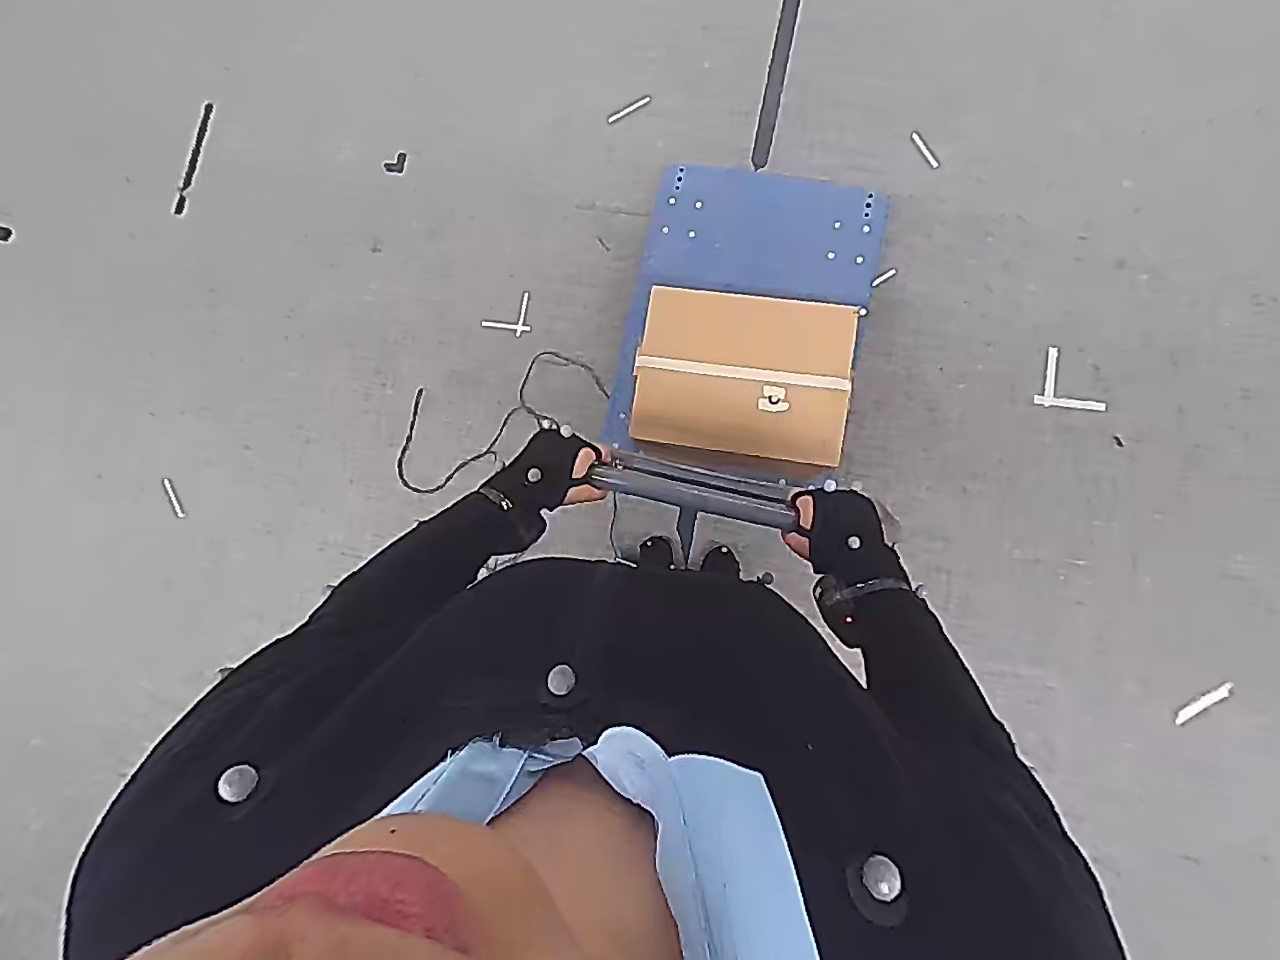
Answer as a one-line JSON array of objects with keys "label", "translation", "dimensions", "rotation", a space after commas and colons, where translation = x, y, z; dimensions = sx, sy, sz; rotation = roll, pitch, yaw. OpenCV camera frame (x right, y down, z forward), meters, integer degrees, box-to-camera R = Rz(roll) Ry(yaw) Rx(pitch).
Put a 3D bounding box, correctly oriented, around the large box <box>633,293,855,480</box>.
[{"label": "large box", "translation": [0.213, -0.188, 1.200], "dimensions": [0.408, 0.320, 0.320], "rotation": [8, 87, 6]}]
